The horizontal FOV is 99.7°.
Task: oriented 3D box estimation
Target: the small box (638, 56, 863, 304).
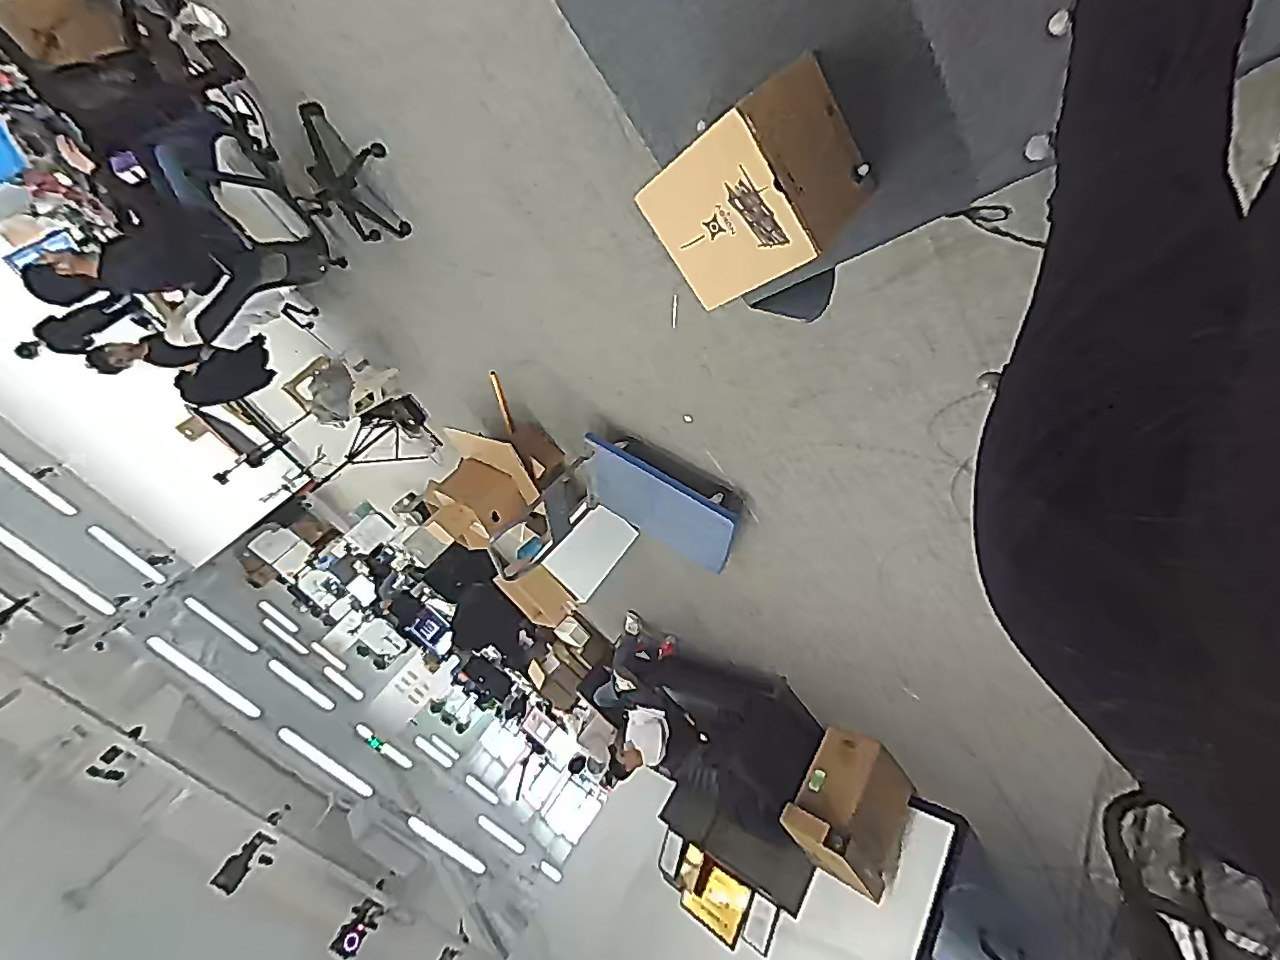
[{"bbox_3d":[0.137,-0.346,0.639,0.168,0.176,0.179,52,150,-20],"label":"small box"}]
